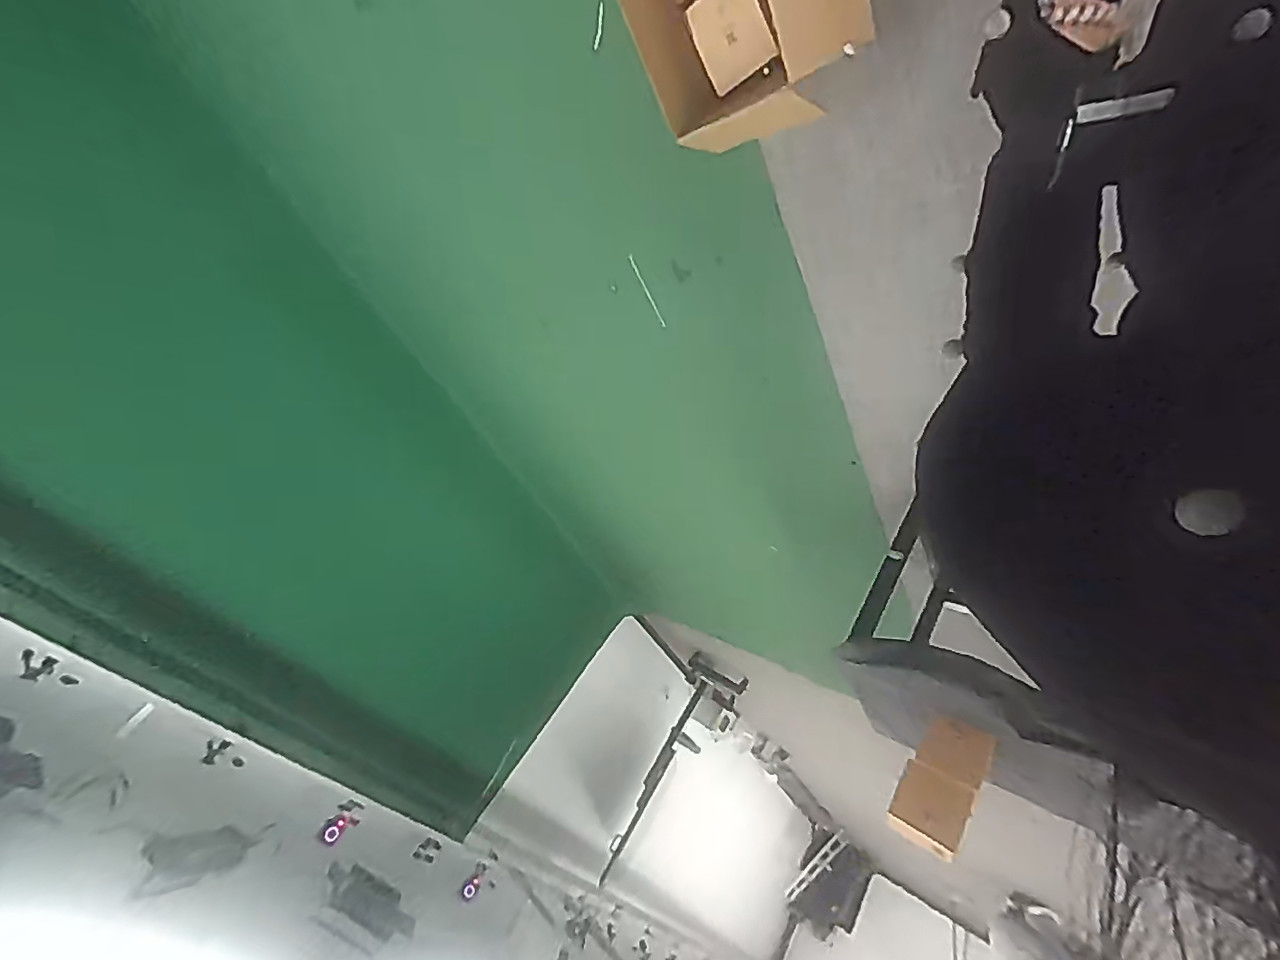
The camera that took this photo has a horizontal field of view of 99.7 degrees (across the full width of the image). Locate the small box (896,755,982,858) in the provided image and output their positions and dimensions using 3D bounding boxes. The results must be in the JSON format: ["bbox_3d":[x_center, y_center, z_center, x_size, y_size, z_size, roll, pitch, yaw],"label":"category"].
[{"bbox_3d":[0.847,0.922,1.534,0.179,0.176,0.168,19,149,38],"label":"small box"}]
